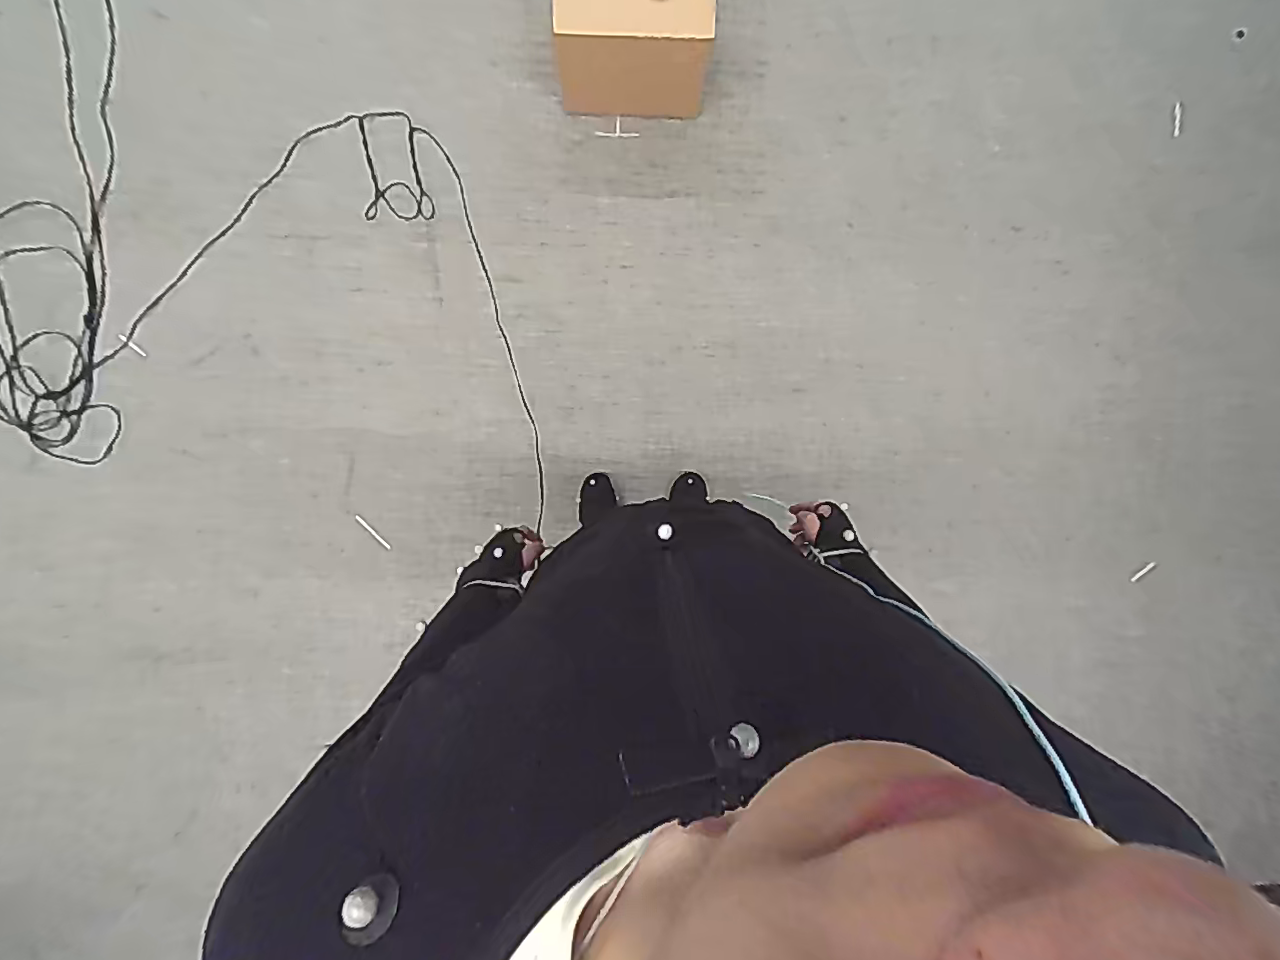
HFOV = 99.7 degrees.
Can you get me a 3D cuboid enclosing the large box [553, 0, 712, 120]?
[{"bbox_3d":[-0.028,-1.248,1.497,0.408,0.320,0.320,-1,91,-2],"label":"large box"}]
